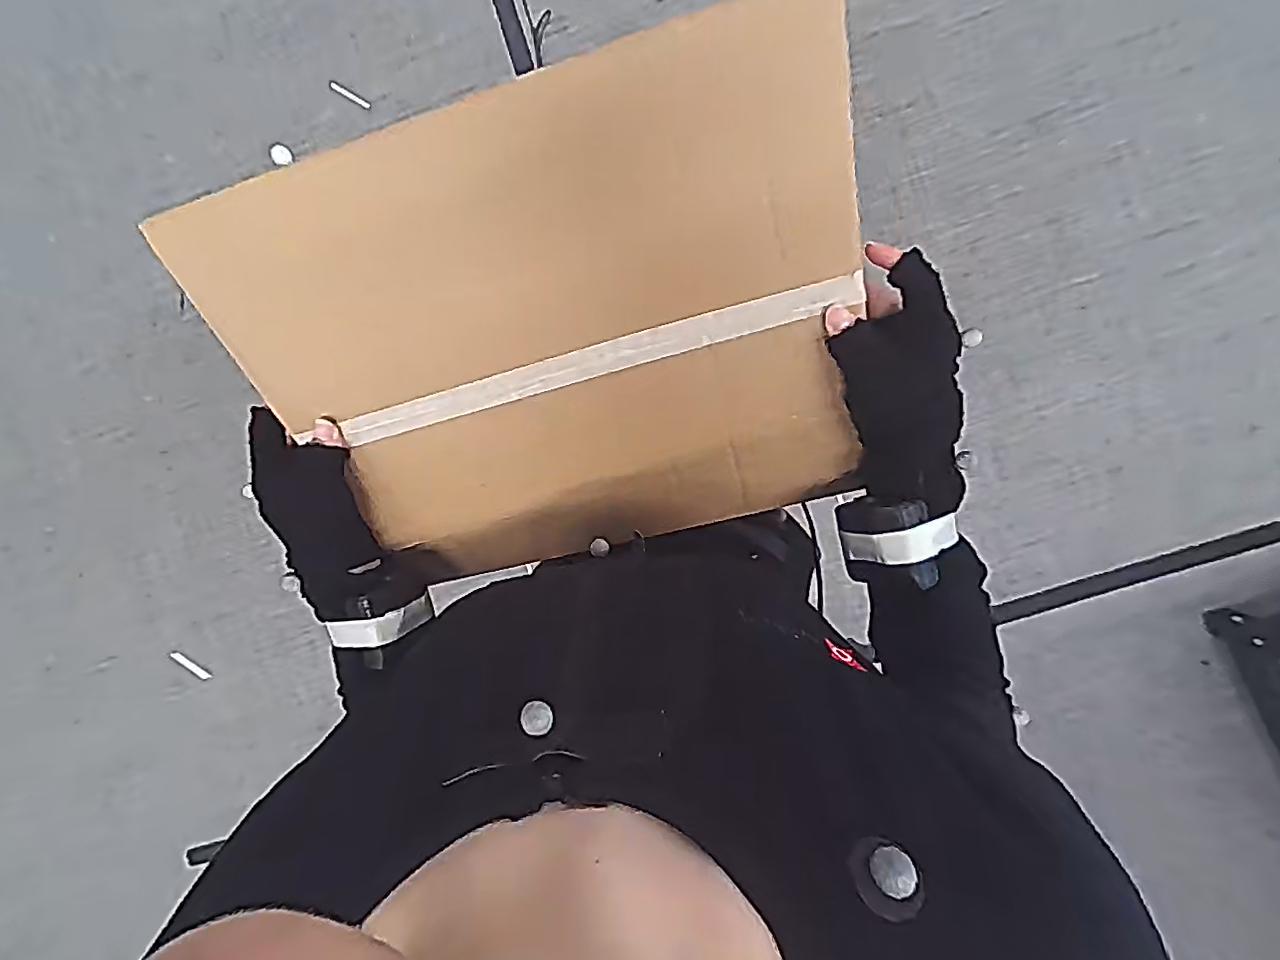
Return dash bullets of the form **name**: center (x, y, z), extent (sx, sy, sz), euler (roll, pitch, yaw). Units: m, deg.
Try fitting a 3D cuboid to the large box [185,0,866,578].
- **large box**: center (-0.054, -0.160, 0.503), extent (0.408, 0.320, 0.320), euler (-14, 123, 9)
